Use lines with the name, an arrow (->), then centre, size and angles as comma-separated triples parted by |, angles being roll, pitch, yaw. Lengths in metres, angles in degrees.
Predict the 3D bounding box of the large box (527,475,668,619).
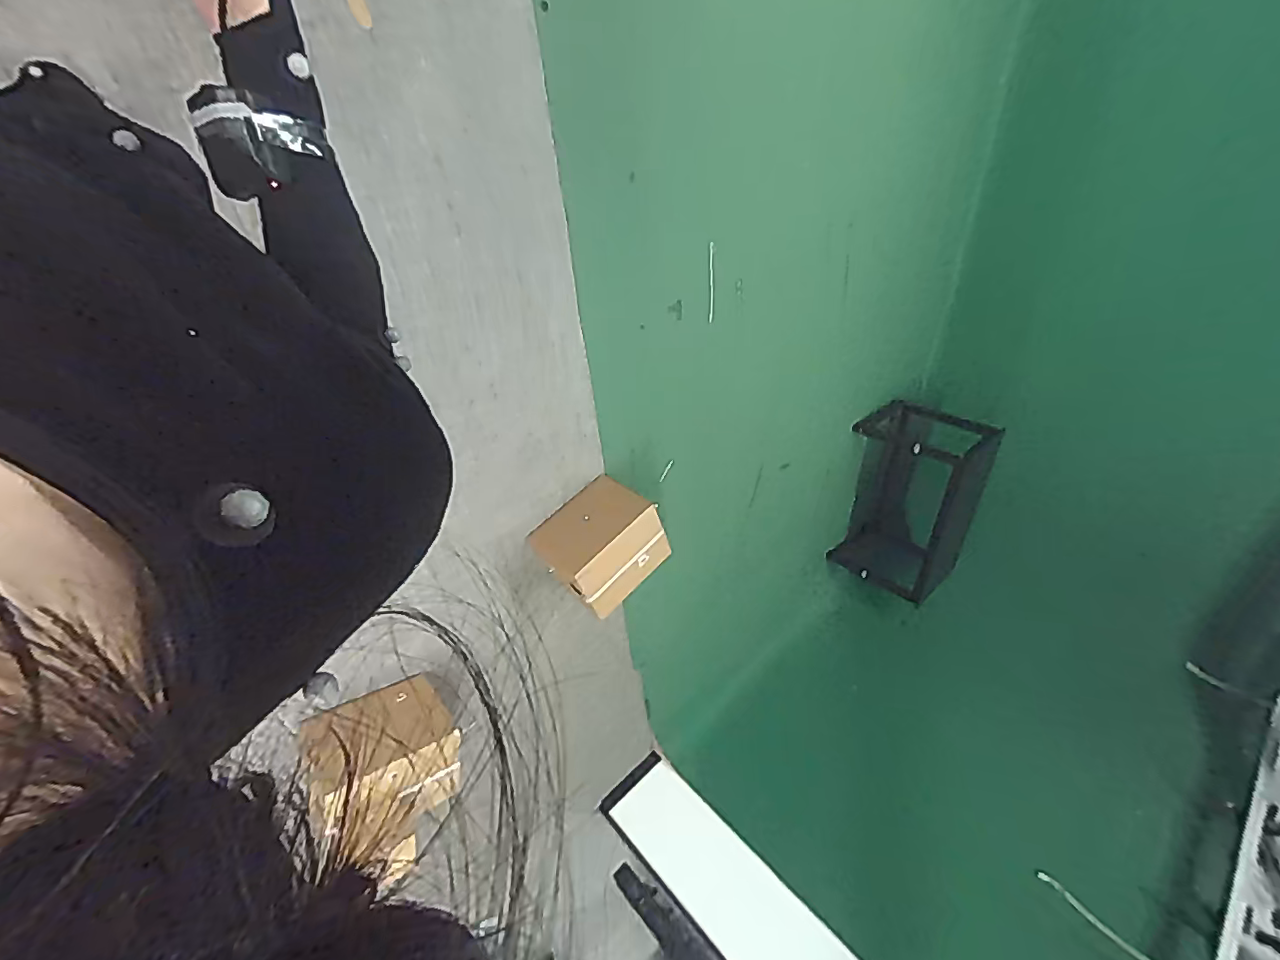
large box -> -0.161, 0.254, 2.132 | 0.408, 0.320, 0.320 | -43, 138, -22

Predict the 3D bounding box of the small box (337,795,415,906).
small box -> -0.783, 1.086, 1.601 | 0.168, 0.176, 0.179 | -12, 122, -42
